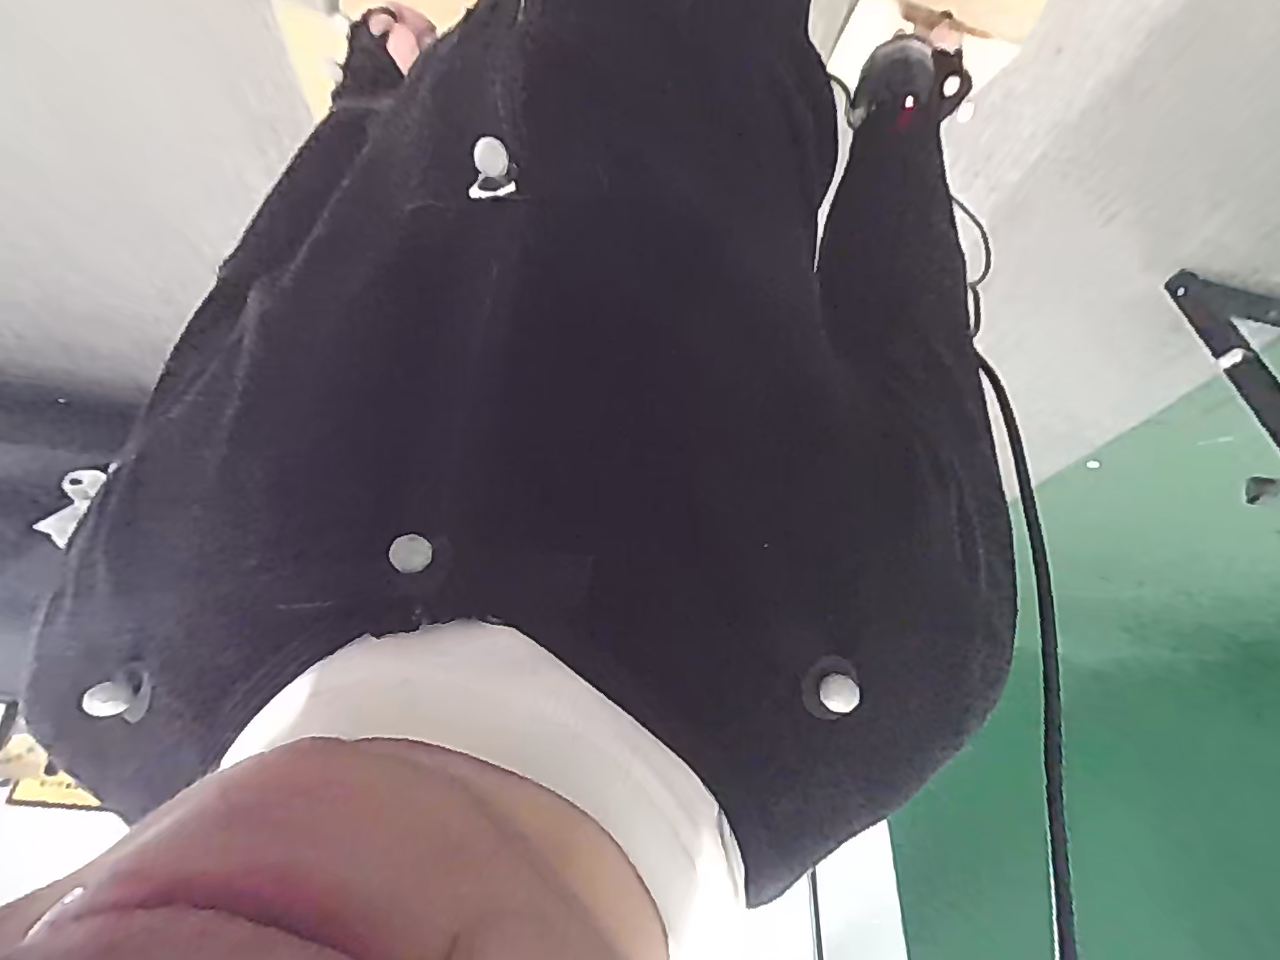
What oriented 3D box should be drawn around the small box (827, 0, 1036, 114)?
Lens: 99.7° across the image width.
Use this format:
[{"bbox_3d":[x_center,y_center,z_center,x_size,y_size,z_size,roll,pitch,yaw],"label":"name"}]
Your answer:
[{"bbox_3d":[0.325,-0.545,0.588,0.168,0.176,0.179,20,102,-2],"label":"small box"}]
